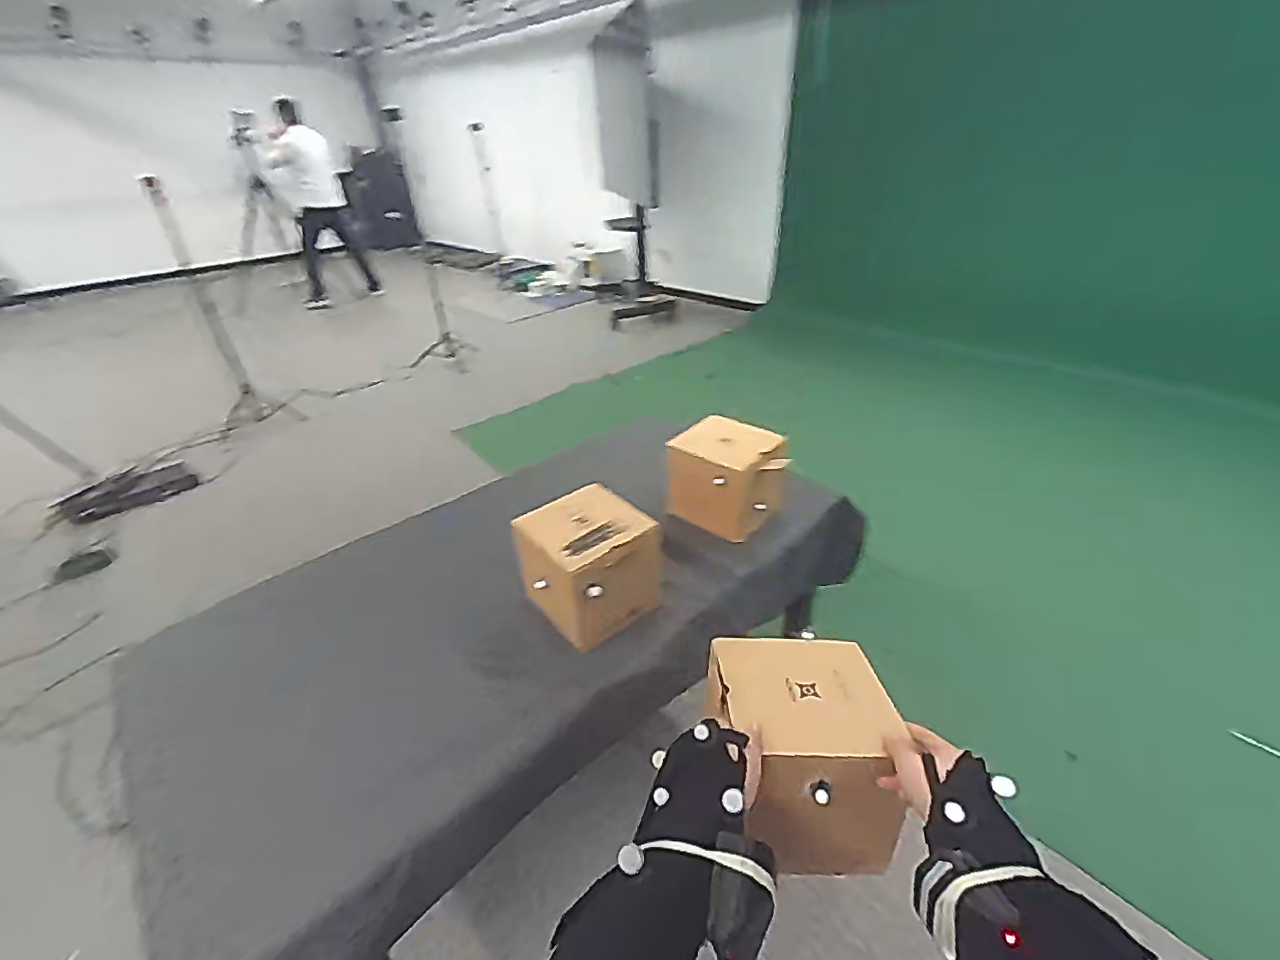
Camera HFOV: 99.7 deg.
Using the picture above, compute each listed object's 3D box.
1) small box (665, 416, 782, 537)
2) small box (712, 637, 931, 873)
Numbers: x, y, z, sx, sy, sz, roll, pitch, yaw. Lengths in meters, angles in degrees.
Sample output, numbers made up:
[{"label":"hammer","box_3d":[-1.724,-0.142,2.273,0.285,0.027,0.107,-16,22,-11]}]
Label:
[{"label":"small box","box_3d":[0.167,-0.009,1.103,0.179,0.176,0.168,24,41,35]},{"label":"small box","box_3d":[0.176,0.294,0.592,0.179,0.176,0.168,3,23,-2]}]
